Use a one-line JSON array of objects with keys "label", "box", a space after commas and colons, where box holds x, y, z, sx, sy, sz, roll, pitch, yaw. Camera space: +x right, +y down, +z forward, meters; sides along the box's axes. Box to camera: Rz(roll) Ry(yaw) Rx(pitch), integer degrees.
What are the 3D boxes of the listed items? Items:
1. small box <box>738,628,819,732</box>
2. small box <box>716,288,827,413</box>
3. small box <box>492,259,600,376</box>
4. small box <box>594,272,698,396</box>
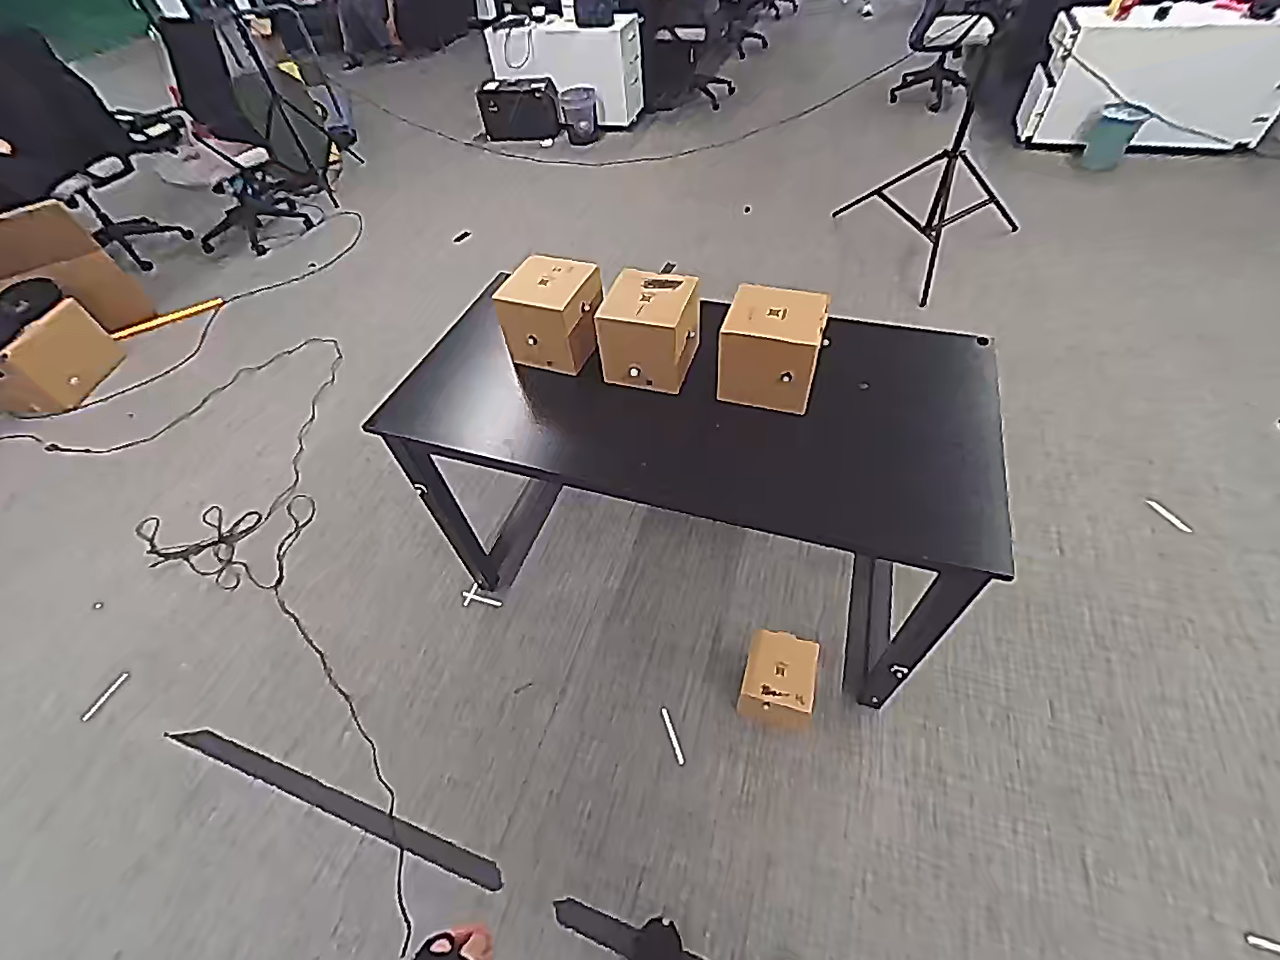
[{"label": "small box", "box": [0.346, 0.508, 1.372, 0.168, 0.176, 0.179, 11, 53, 15]}, {"label": "small box", "box": [0.253, -0.251, 1.061, 0.179, 0.176, 0.168, 12, 52, 16]}, {"label": "small box", "box": [-0.191, -0.354, 1.186, 0.168, 0.176, 0.179, 15, 54, 16]}, {"label": "small box", "box": [0.018, -0.303, 1.123, 0.168, 0.176, 0.179, 12, 54, 14]}]
